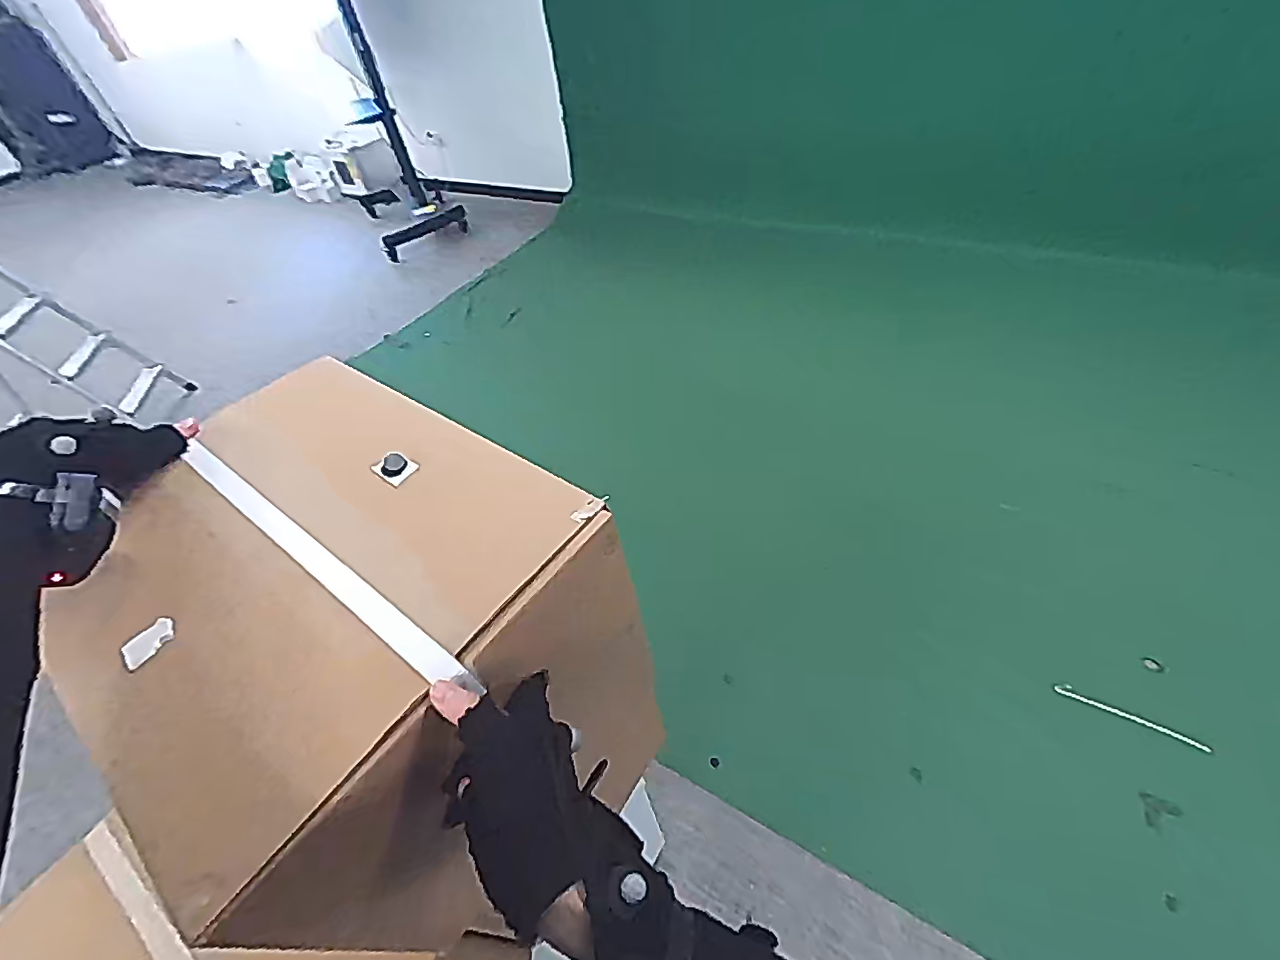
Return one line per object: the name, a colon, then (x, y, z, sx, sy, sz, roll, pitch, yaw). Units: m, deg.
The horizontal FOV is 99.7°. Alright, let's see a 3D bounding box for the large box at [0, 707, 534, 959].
large box: (-0.398, 0.542, 0.613, 0.408, 0.320, 0.320, 21, 53, 27)
